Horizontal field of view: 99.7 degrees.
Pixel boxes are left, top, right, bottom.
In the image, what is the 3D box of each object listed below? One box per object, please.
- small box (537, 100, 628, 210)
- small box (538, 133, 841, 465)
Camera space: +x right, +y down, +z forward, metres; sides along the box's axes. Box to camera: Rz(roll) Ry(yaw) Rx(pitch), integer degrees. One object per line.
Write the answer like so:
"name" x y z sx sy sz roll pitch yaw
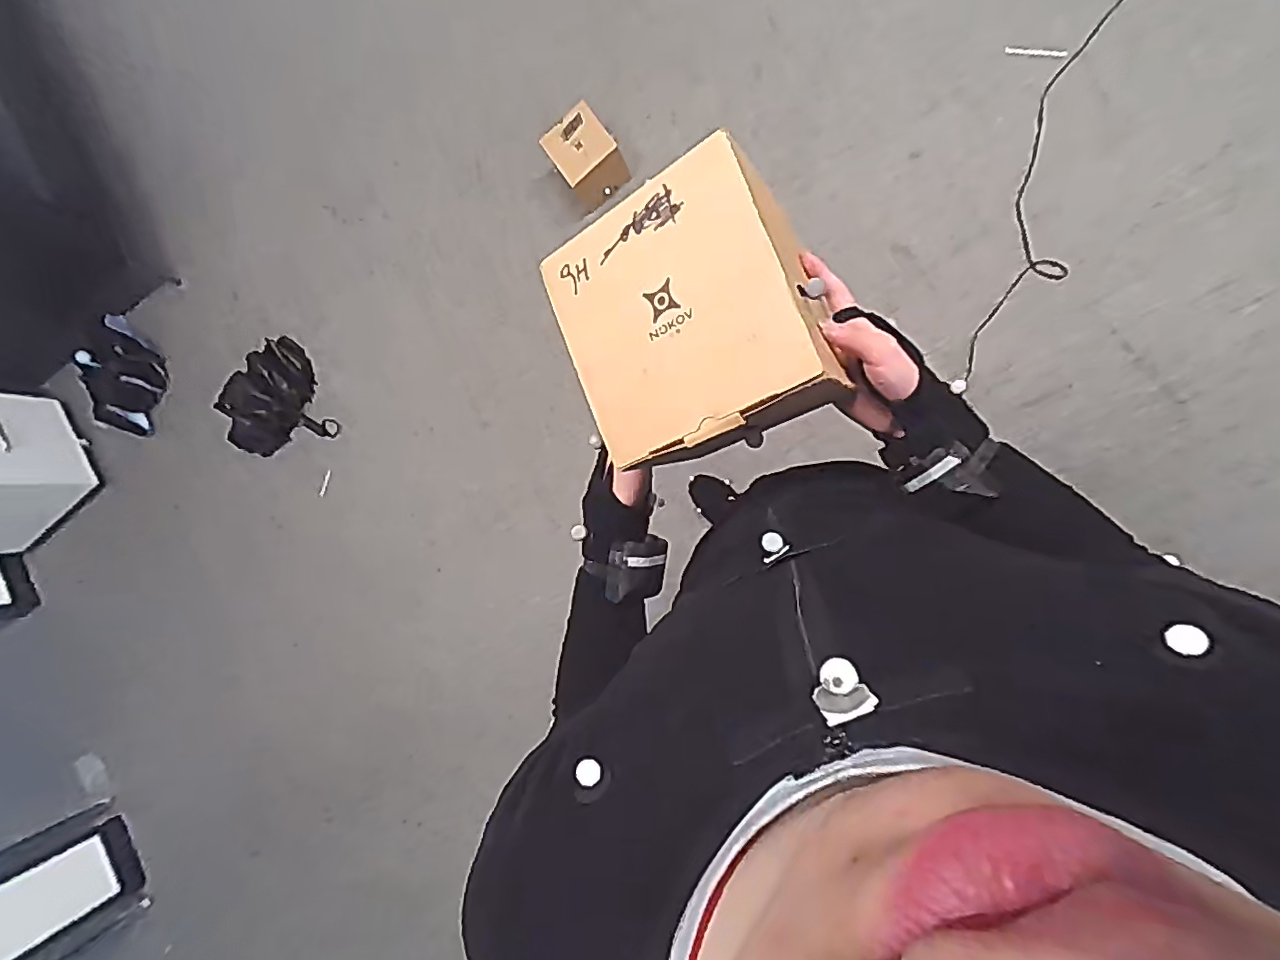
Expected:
"small box" -0.161 -0.930 1.565 0.168 0.176 0.179 -36 83 12
"small box" 0.052 -0.128 0.449 0.168 0.176 0.179 -23 86 27
